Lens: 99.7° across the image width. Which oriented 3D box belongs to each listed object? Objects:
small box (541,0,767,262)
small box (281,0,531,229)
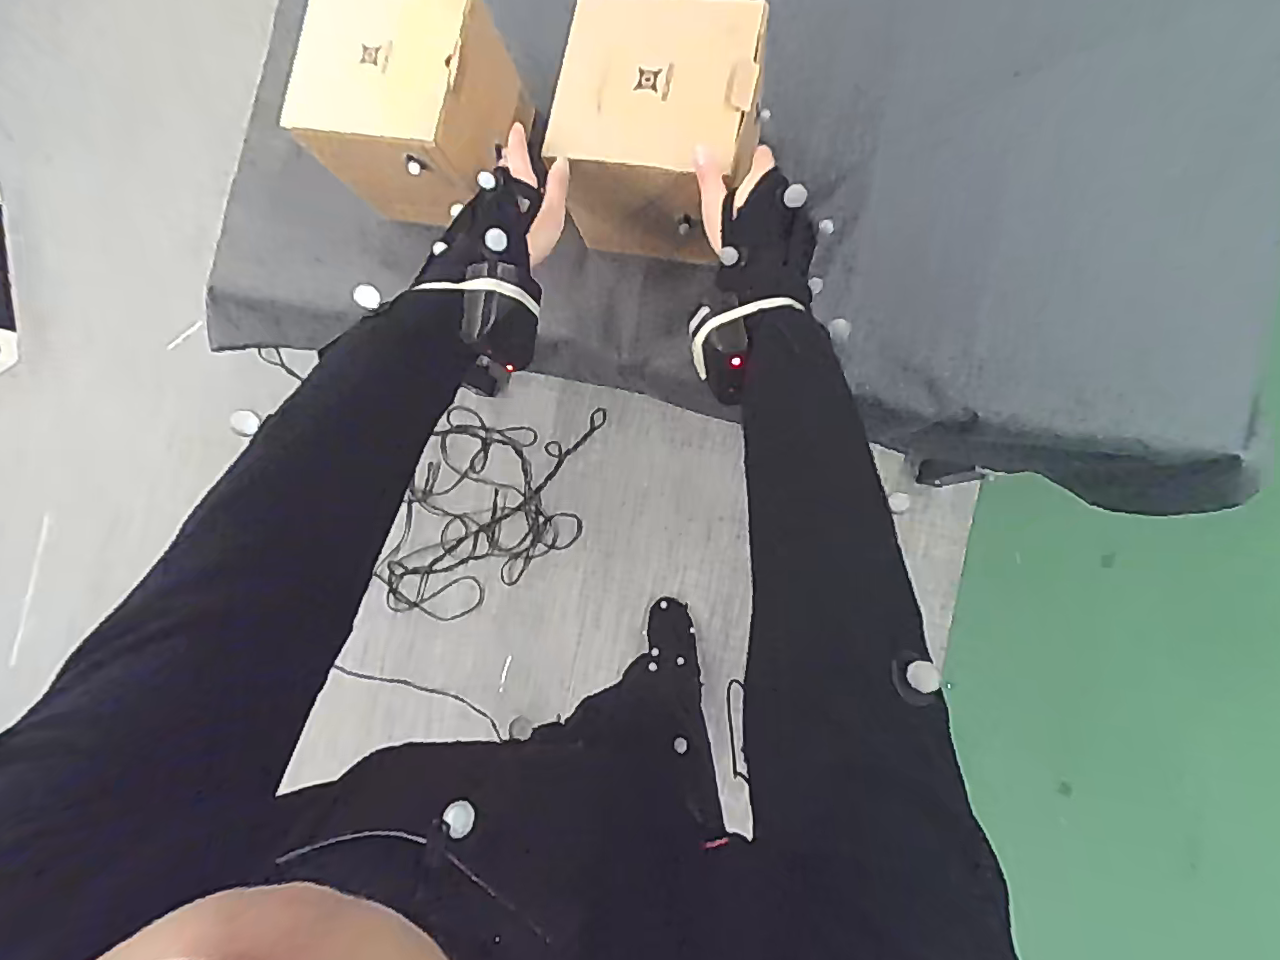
[{"bbox_3d":[0.024,-0.346,0.556,0.179,0.176,0.168,12,86,12],"label":"small box"},{"bbox_3d":[-0.246,-0.408,0.607,0.179,0.176,0.168,11,87,9],"label":"small box"}]
